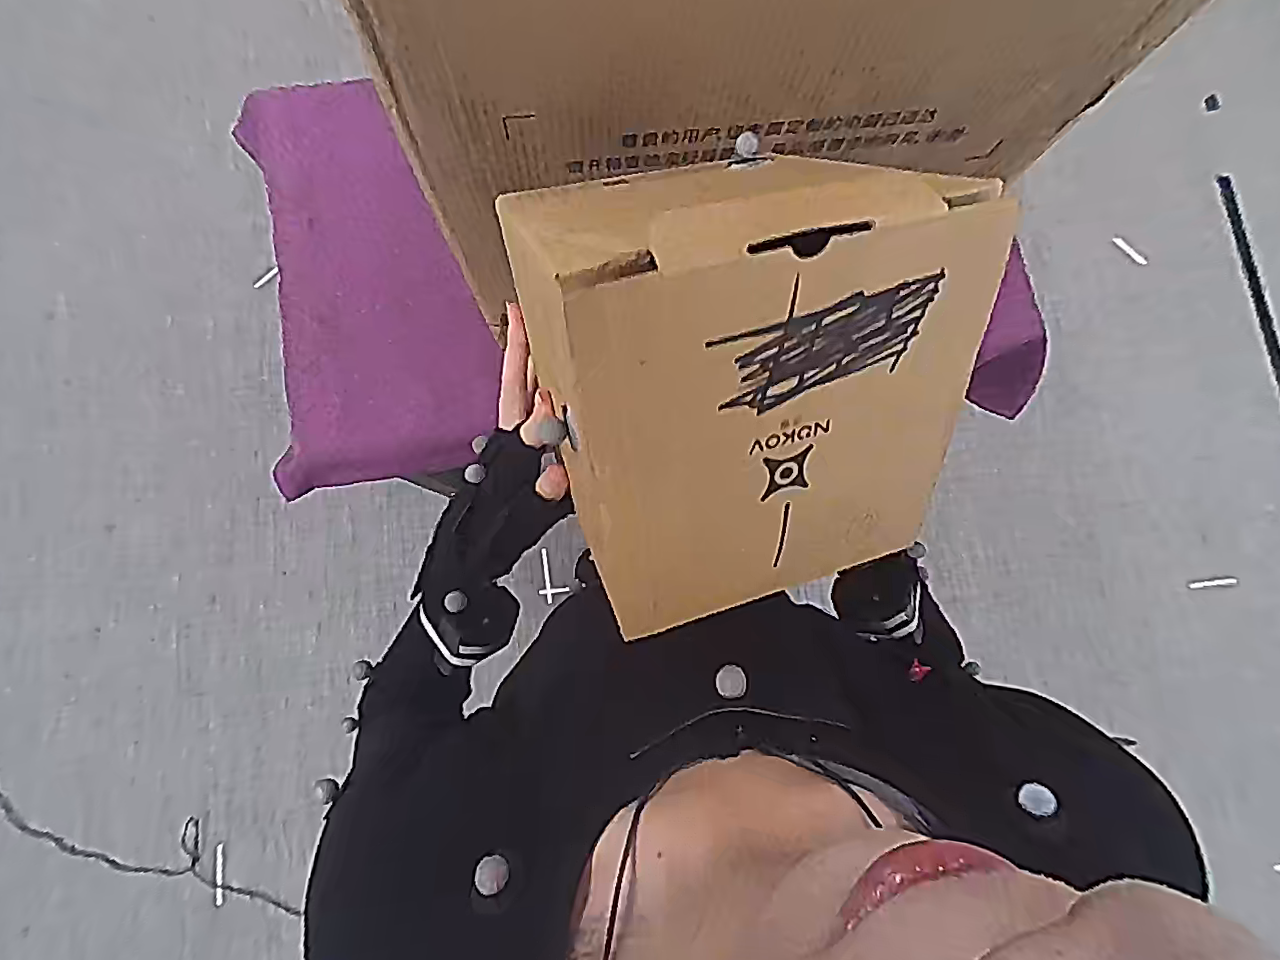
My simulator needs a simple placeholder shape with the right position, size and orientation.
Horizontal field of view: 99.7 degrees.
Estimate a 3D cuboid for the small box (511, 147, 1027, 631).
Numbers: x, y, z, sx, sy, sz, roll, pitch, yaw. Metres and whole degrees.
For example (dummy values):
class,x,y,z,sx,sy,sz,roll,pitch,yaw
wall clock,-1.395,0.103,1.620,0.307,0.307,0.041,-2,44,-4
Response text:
class,x,y,z,sx,sy,sz,roll,pitch,yaw
small box,0.040,-0.062,0.280,0.168,0.176,0.179,-16,127,-11
